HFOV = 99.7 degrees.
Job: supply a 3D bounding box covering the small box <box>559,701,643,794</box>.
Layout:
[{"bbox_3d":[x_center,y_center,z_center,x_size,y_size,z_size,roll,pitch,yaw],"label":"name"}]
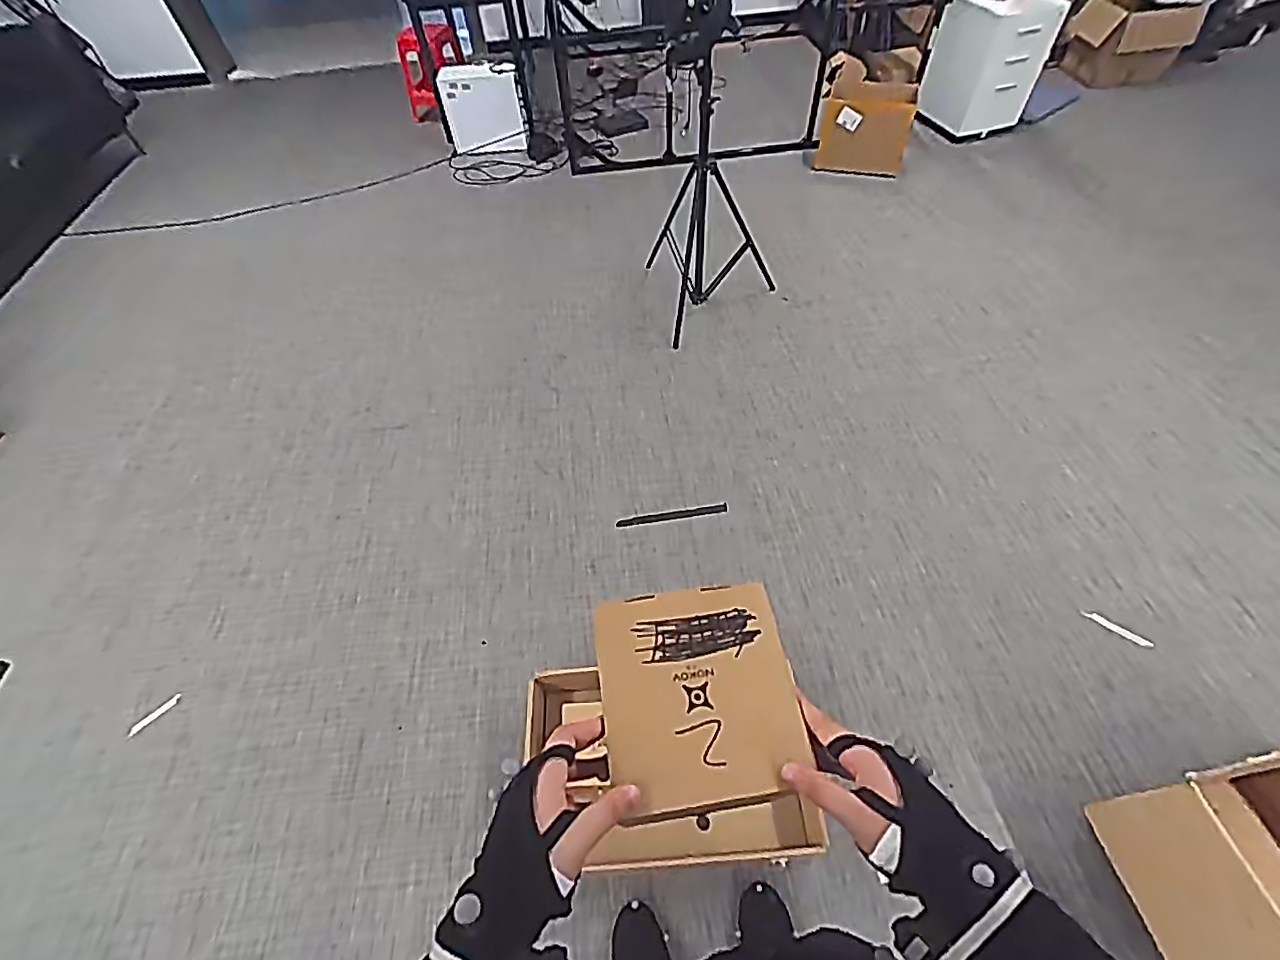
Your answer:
[{"bbox_3d":[-0.086,0.617,1.242,0.179,0.176,0.168,-3,56,-1],"label":"small box"}]
